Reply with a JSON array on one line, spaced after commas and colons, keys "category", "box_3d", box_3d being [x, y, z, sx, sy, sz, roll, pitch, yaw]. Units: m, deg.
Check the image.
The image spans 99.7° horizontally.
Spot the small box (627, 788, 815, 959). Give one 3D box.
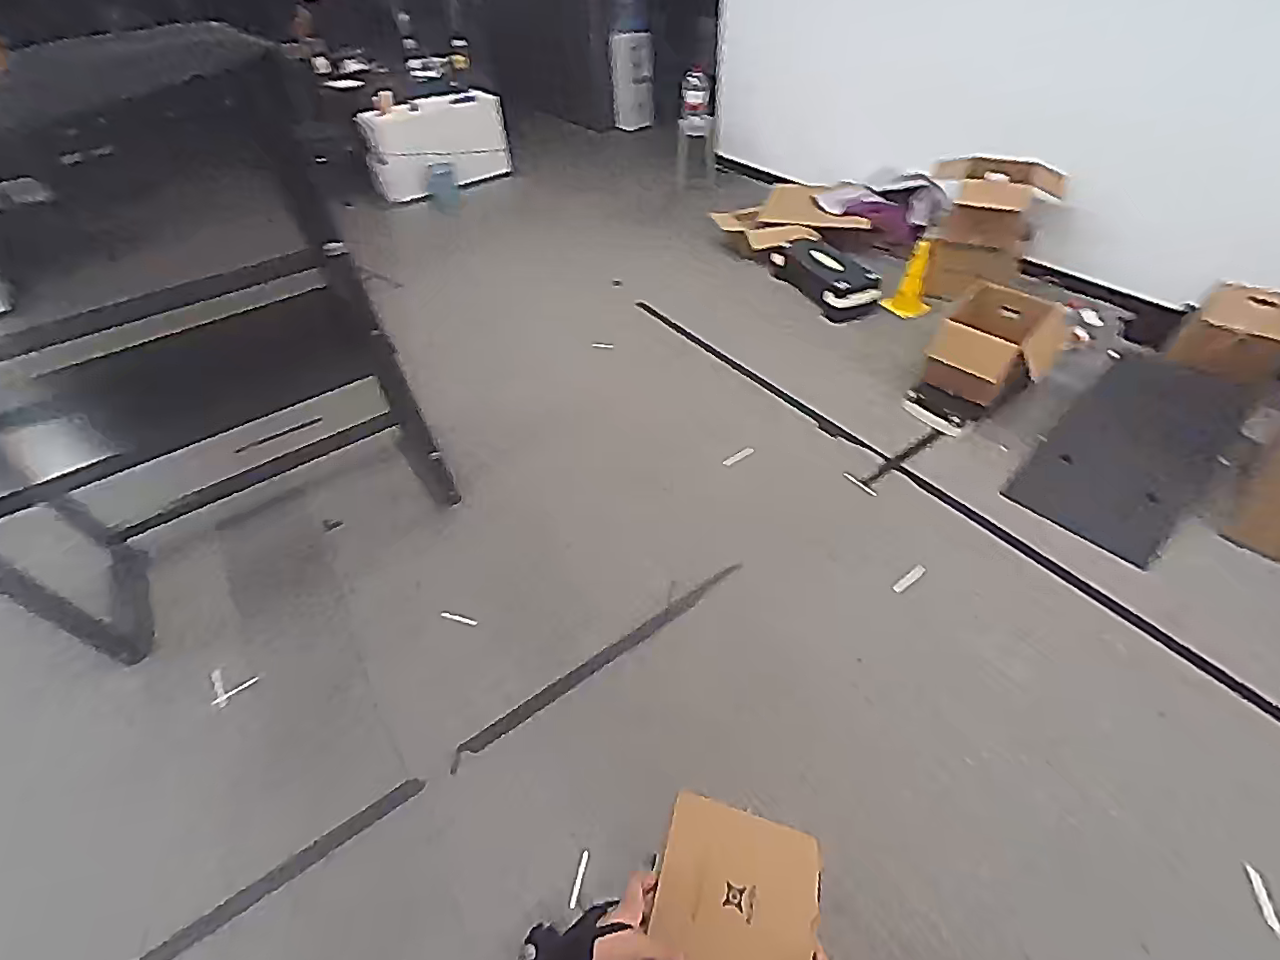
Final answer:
[{"category": "small box", "box_3d": [0.091, 0.498, 0.646, 0.179, 0.176, 0.168, 15, 50, 7]}]

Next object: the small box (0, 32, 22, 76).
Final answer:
[{"category": "small box", "box_3d": [-1.424, -0.925, 1.096, 0.168, 0.176, 0.179, -34, 53, -25]}]
